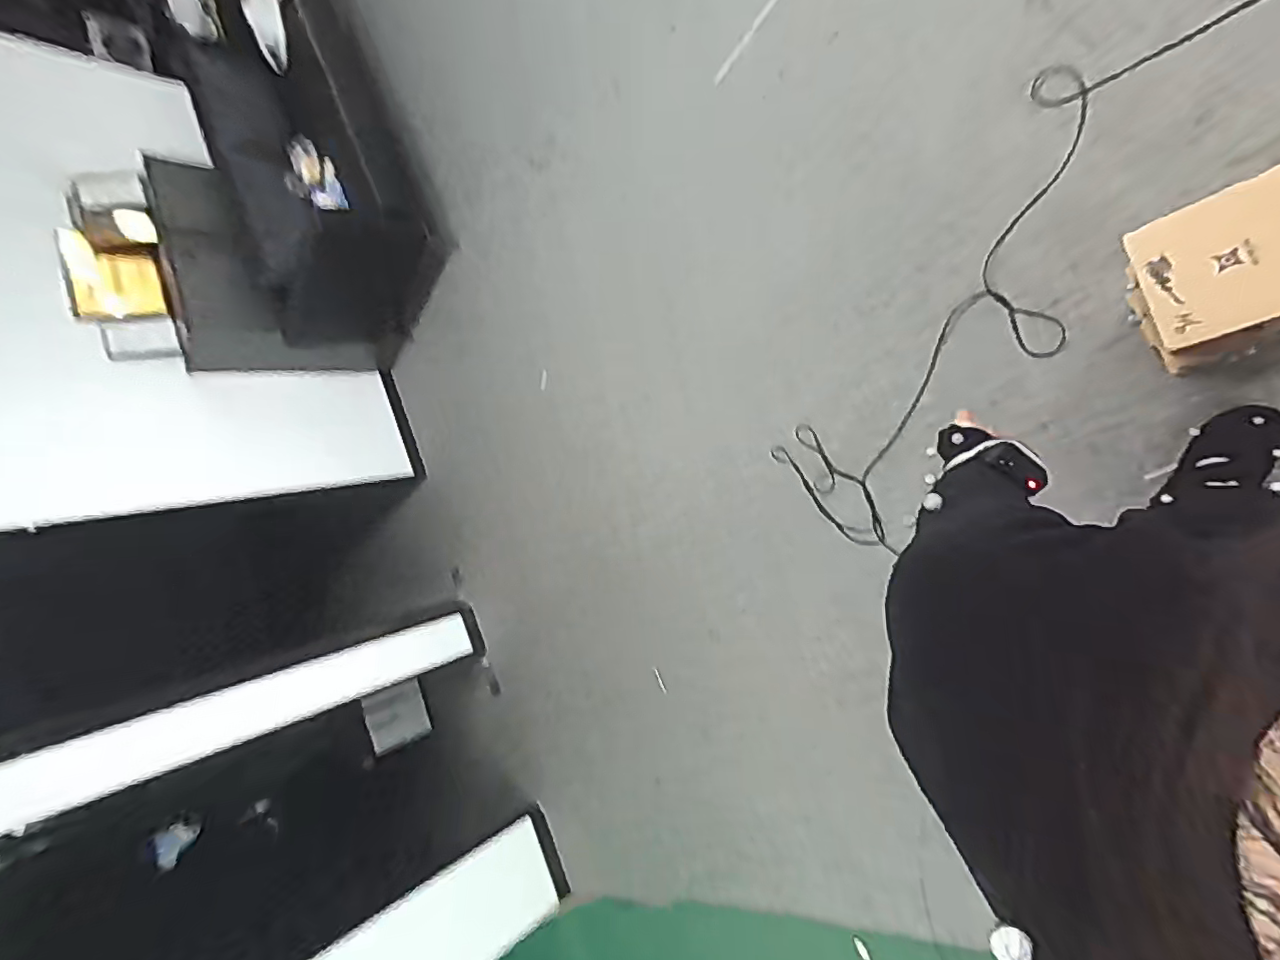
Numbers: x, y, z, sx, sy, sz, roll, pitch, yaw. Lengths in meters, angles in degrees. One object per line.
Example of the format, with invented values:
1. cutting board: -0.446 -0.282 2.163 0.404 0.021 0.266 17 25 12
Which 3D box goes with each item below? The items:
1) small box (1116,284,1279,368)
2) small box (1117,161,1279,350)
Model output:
1. small box: 0.990 -0.307 0.950 0.179 0.176 0.168 -32 76 43
2. small box: 0.766 -0.283 0.709 0.179 0.176 0.168 -22 82 44
